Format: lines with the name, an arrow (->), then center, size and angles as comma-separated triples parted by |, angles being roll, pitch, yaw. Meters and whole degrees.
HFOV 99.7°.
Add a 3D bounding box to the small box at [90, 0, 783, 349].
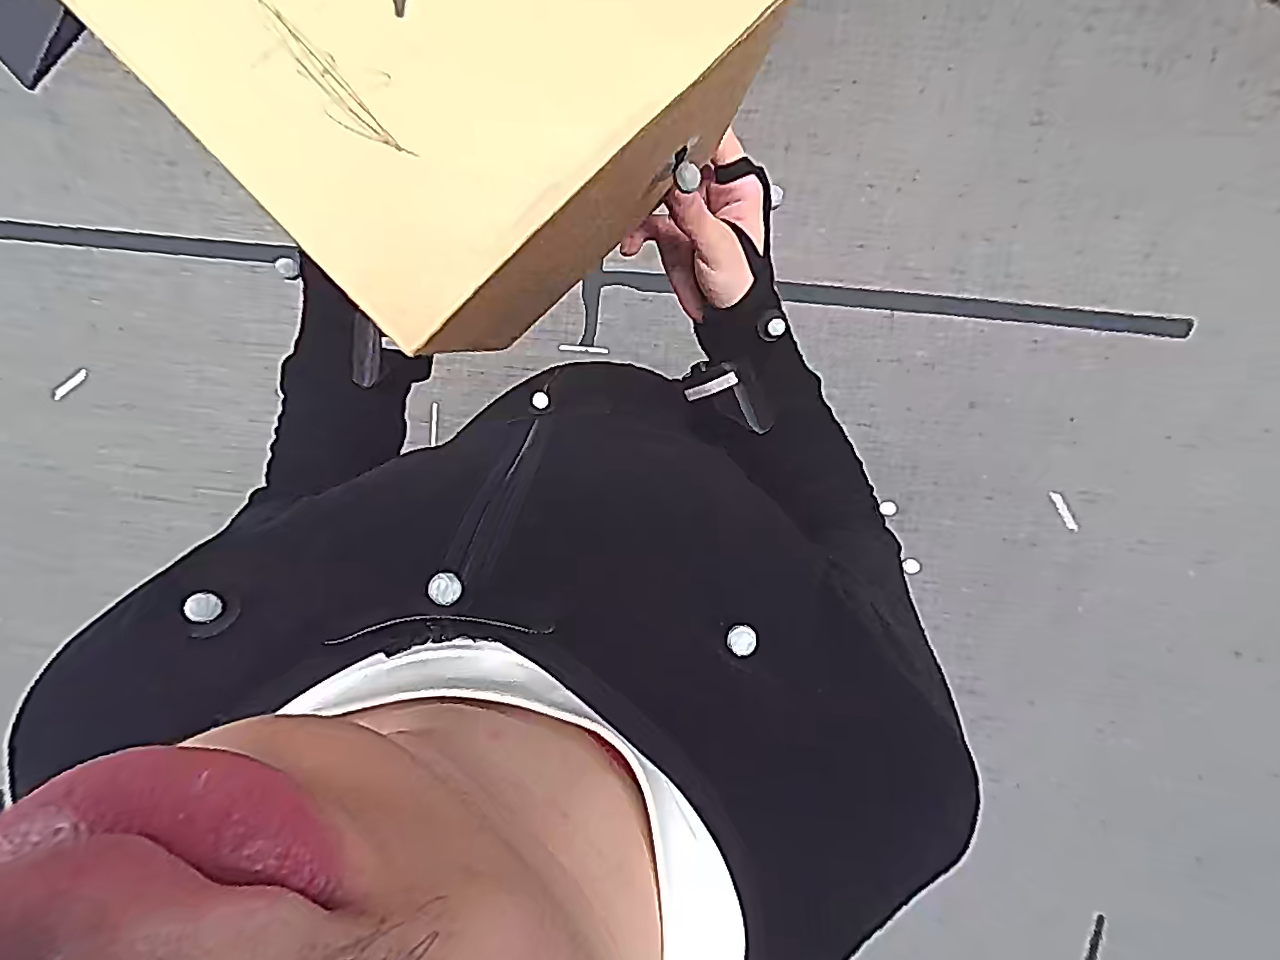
small box -> -0.071, -0.181, 0.251 | 0.179, 0.176, 0.168 | -42, 101, 8
